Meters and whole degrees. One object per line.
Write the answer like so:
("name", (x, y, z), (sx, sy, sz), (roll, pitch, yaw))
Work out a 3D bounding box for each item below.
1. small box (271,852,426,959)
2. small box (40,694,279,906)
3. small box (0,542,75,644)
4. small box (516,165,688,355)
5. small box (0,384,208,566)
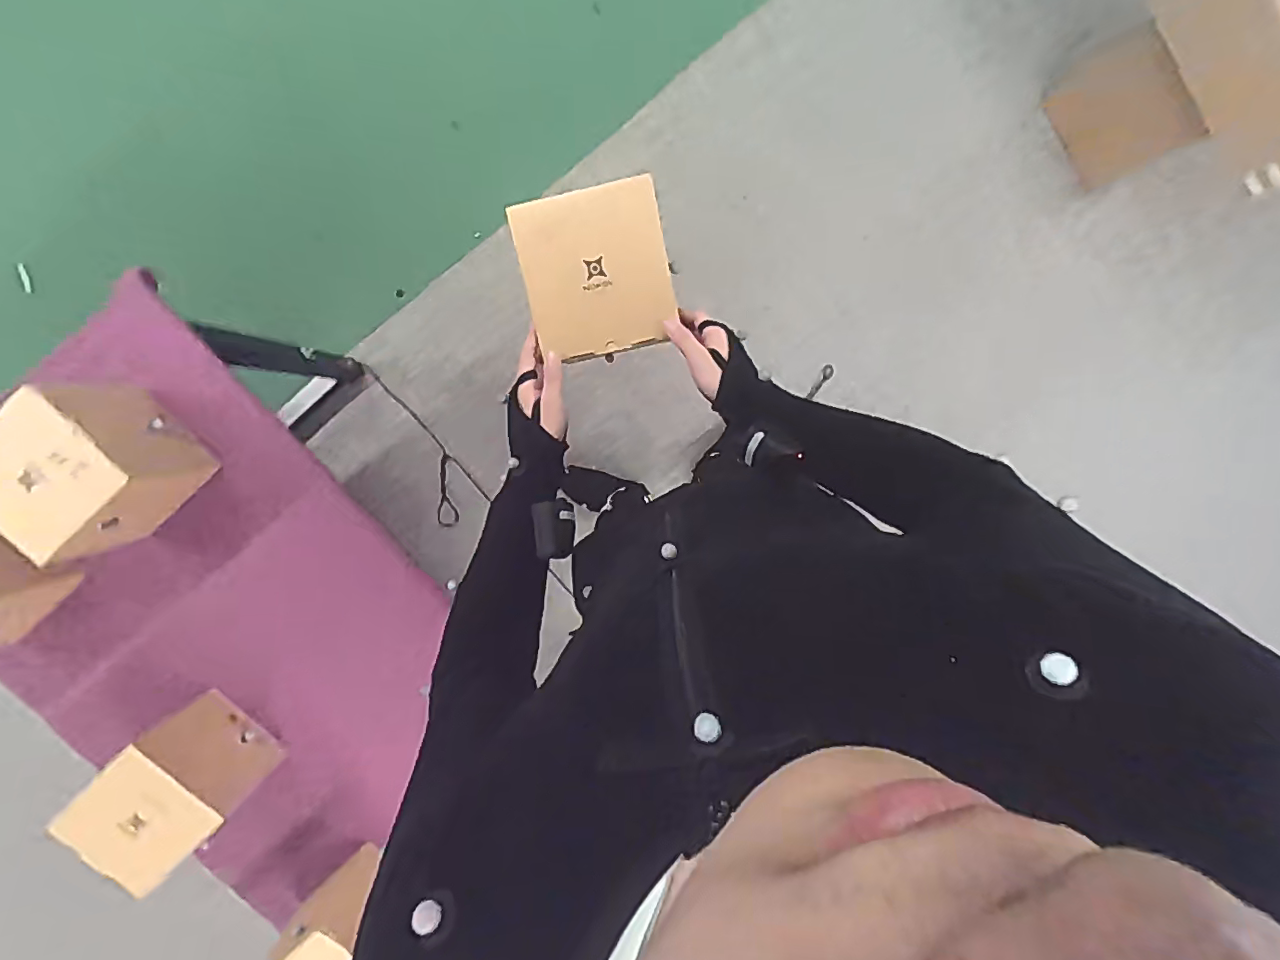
("small box", (-0.471, 0.754, 0.862), (0.179, 0.176, 0.168), (-44, 96, 3))
("small box", (-0.706, 0.470, 0.820), (0.179, 0.176, 0.168), (-44, 98, 1))
("small box", (-0.992, 0.155, 0.768), (0.179, 0.176, 0.168), (-42, 98, 2))
("small box", (-0.042, -0.258, 0.675), (0.168, 0.176, 0.179), (-11, 105, 3))
("small box", (-0.776, -0.014, 0.758), (0.179, 0.176, 0.168), (-42, 98, 3))
